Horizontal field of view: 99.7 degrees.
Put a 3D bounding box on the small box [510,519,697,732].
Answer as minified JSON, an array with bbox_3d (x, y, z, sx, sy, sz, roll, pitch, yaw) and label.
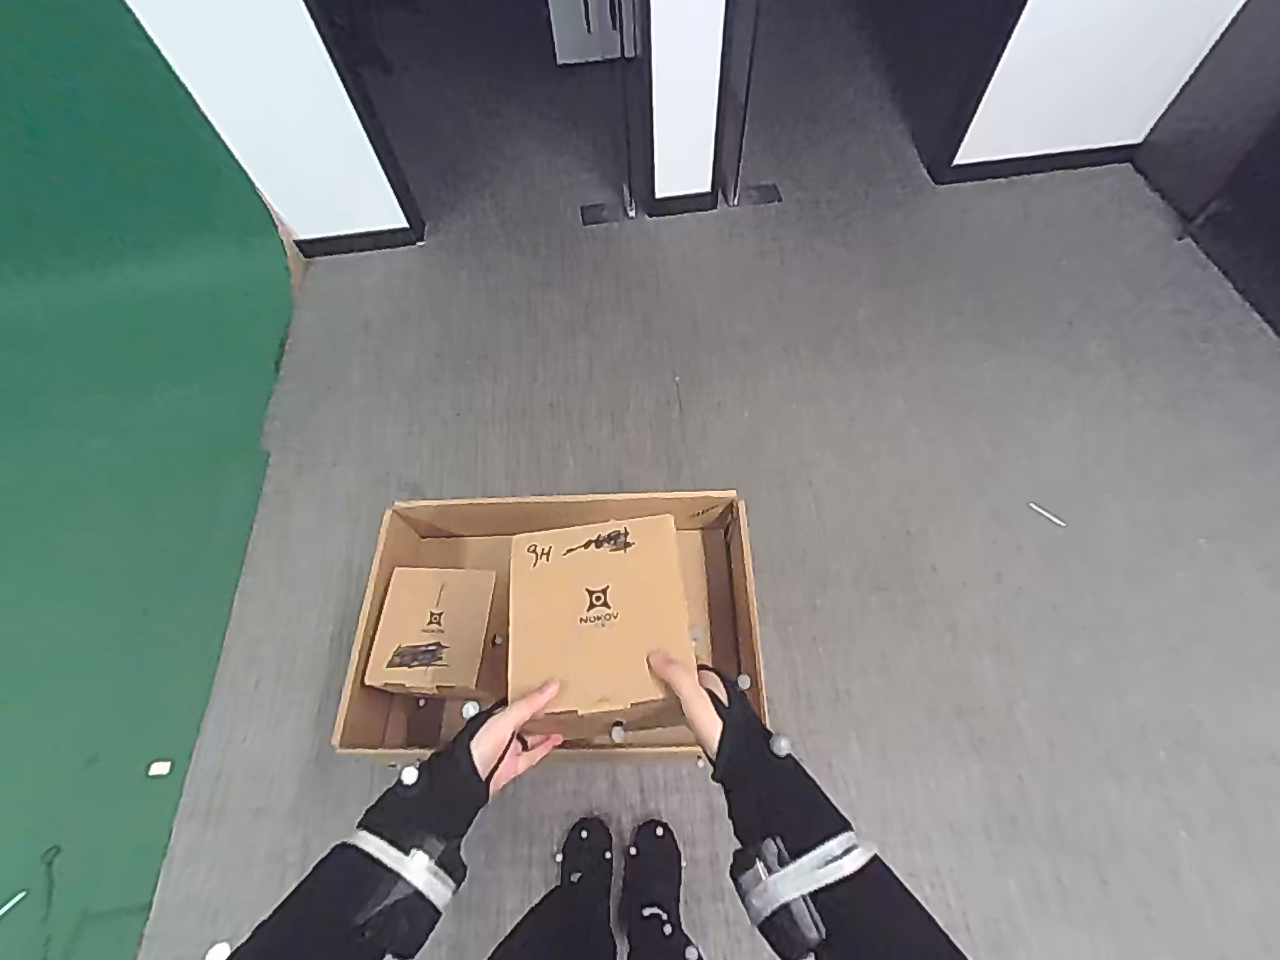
[{"bbox_3d":[-0.031,0.162,0.570,0.168,0.176,0.179,-7,59,1],"label":"small box"}]
